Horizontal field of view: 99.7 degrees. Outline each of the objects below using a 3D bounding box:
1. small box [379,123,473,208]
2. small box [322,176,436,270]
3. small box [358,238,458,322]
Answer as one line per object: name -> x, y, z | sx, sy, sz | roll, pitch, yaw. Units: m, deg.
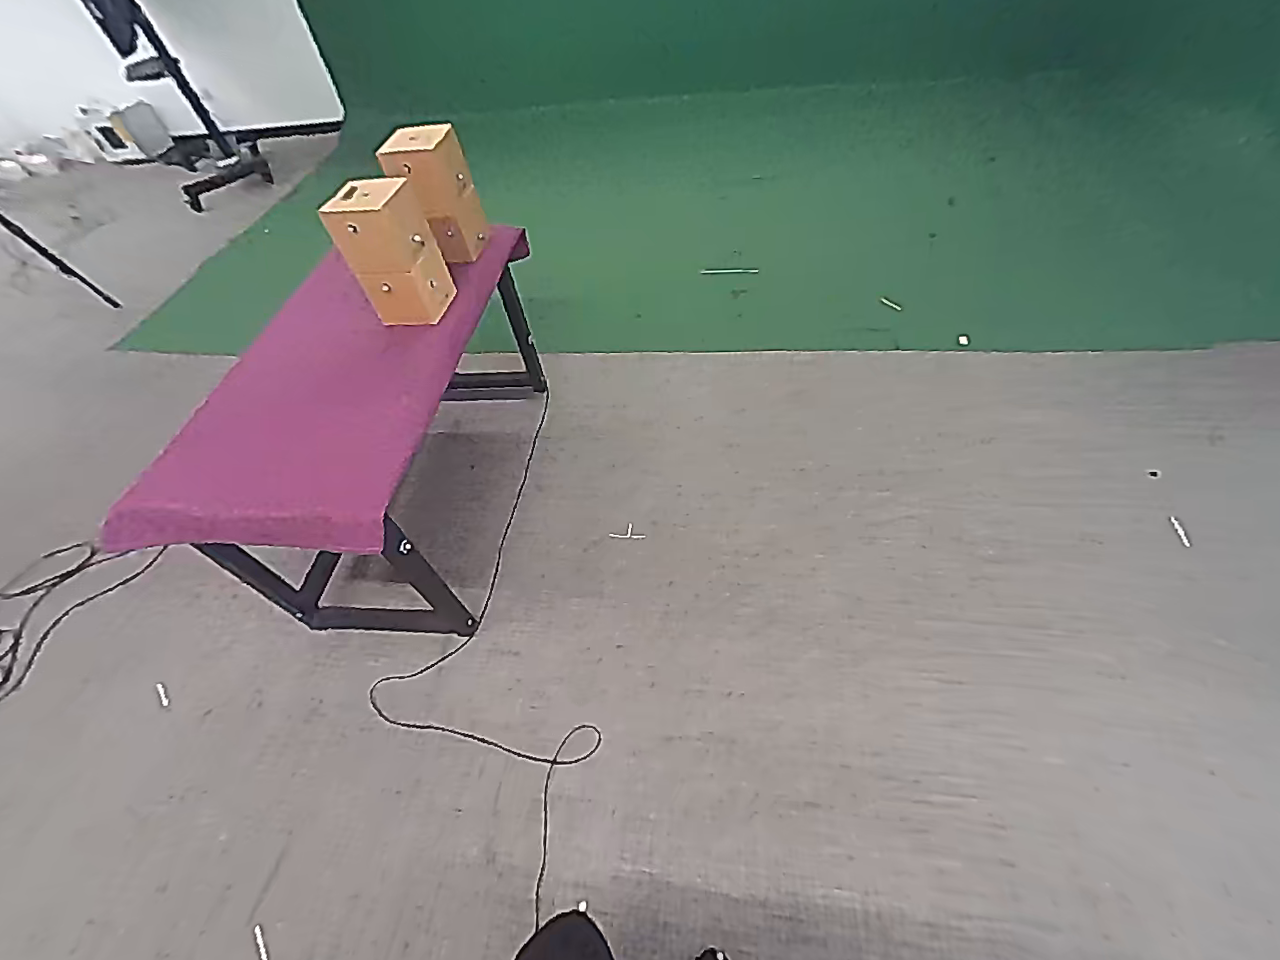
small box -> -0.624, -0.927, 1.601 | 0.179, 0.176, 0.168 | 2, 54, 10
small box -> -0.672, -0.667, 1.412 | 0.179, 0.176, 0.168 | 4, 54, 12
small box -> -0.648, -0.566, 1.539 | 0.179, 0.176, 0.168 | 3, 53, 12
